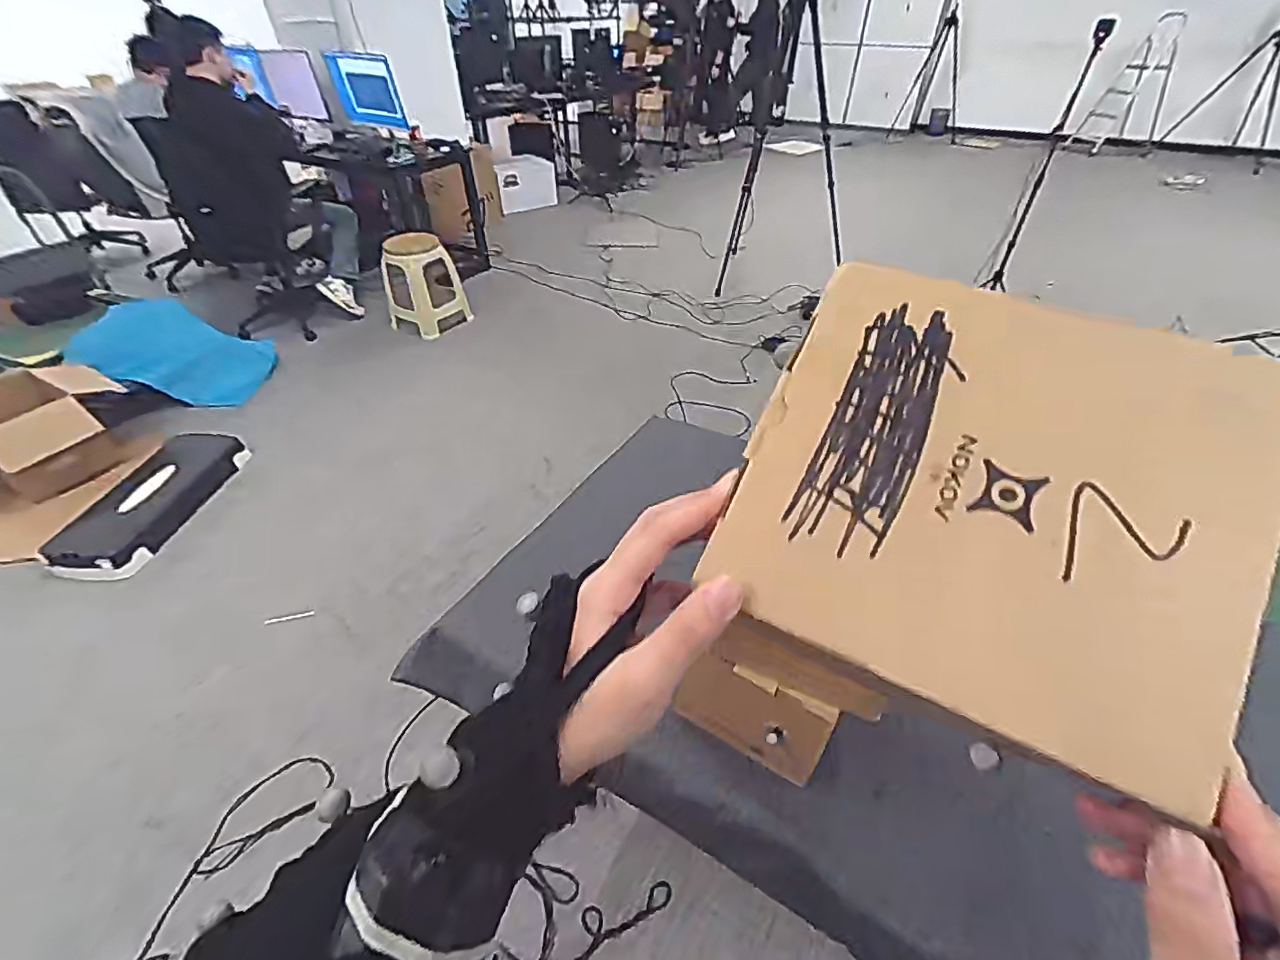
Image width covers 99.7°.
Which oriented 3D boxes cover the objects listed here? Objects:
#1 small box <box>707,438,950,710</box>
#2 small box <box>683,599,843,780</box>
[{"bbox_3d":[0.174,0.089,0.525,0.179,0.176,0.168,18,44,18],"label":"small box"},{"bbox_3d":[0.160,0.208,0.635,0.168,0.176,0.179,23,45,23],"label":"small box"}]
